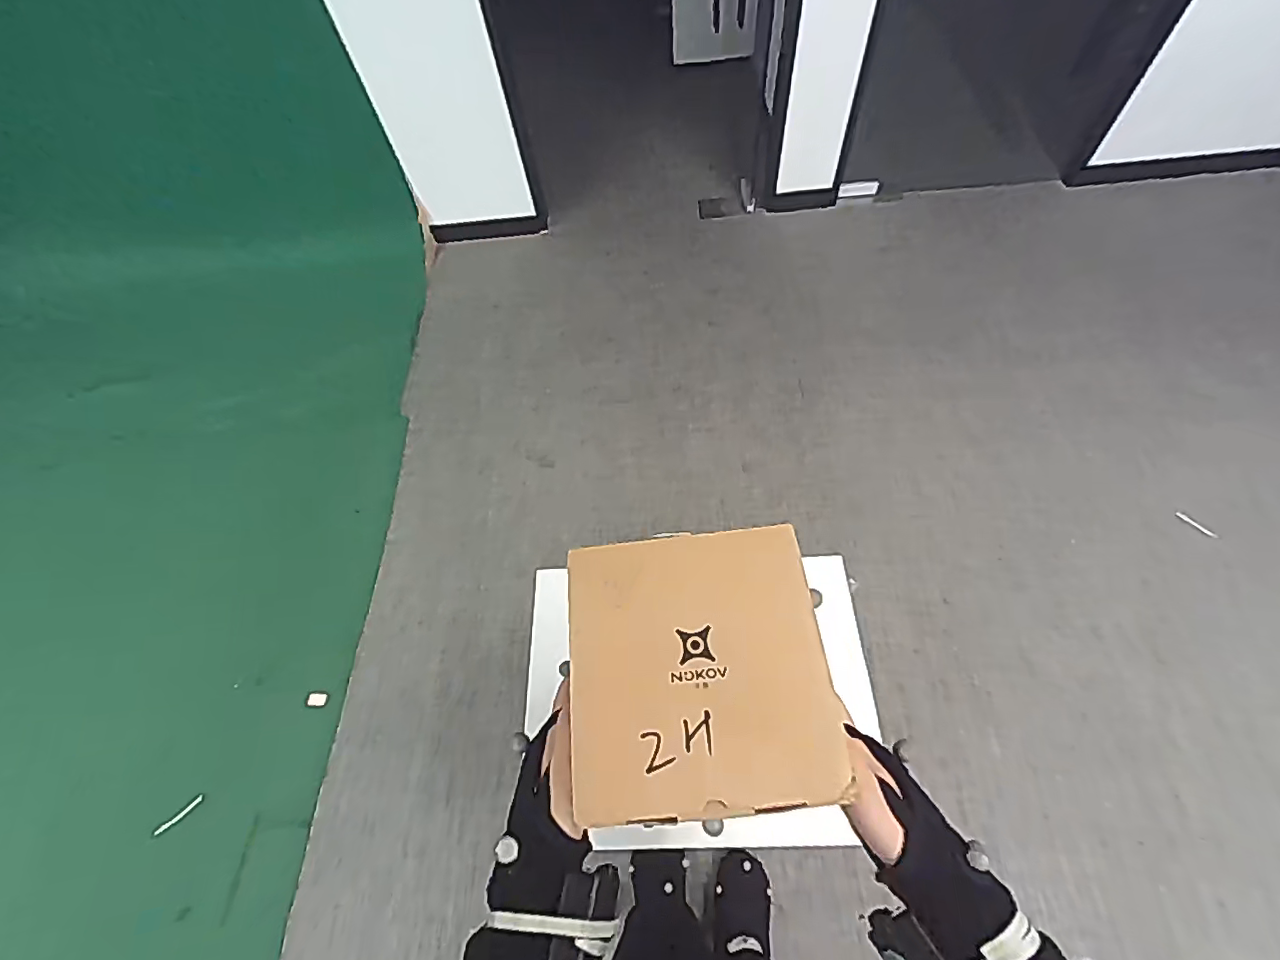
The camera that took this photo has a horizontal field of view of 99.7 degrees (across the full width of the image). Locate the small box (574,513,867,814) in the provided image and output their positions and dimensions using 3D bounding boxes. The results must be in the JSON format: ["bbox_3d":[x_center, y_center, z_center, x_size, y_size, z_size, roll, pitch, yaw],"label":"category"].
[{"bbox_3d":[0.045,0.146,0.410,0.168,0.176,0.179,-7,59,3],"label":"small box"}]
